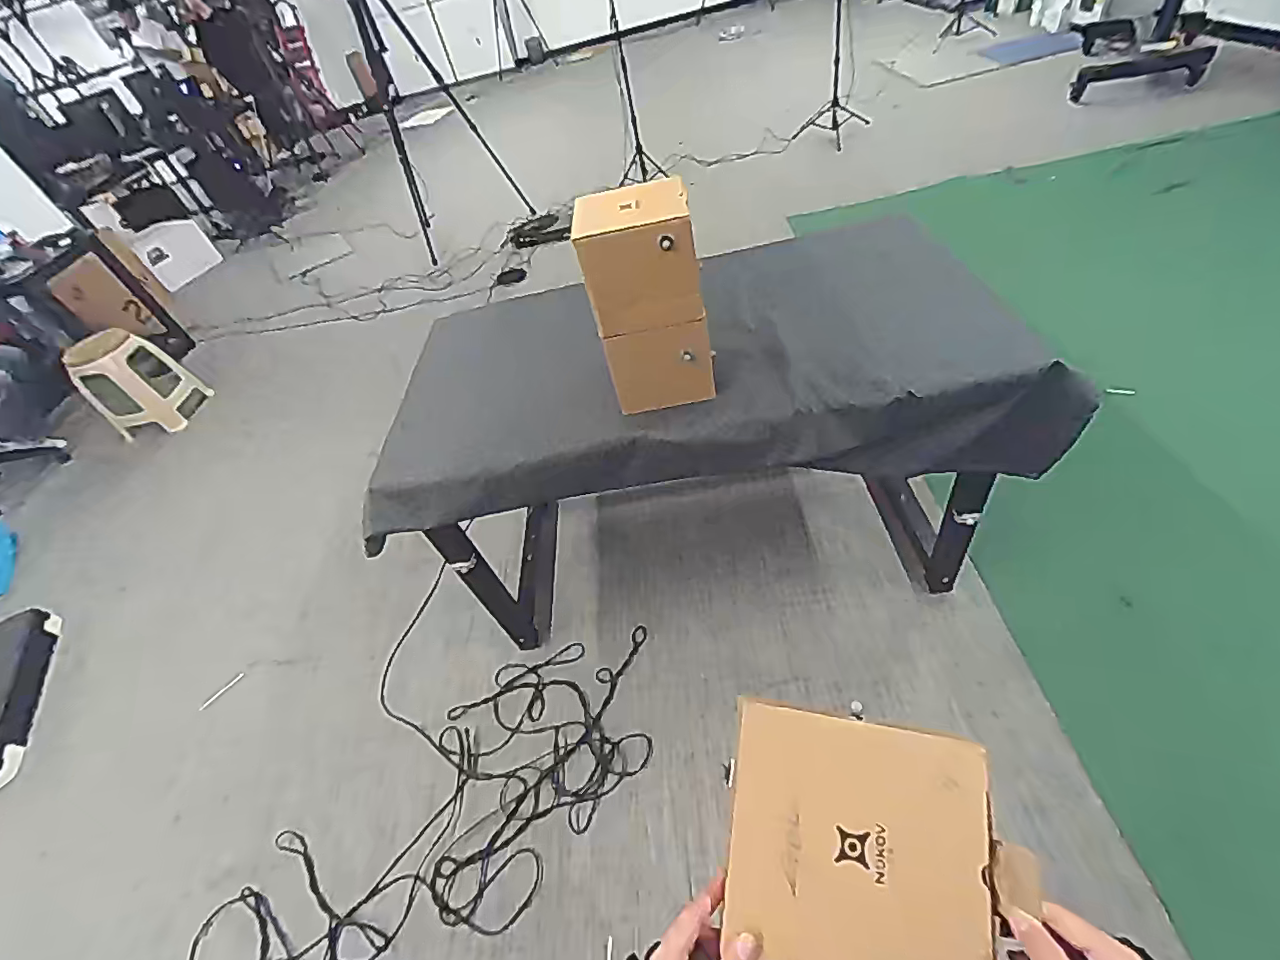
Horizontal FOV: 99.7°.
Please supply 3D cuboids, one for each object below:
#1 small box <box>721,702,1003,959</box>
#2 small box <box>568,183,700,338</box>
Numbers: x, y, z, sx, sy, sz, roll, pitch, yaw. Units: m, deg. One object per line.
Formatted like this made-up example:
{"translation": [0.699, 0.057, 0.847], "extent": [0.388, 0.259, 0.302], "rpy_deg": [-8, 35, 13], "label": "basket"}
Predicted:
{"translation": [0.164, 0.283, 0.447], "extent": [0.179, 0.176, 0.168], "rpy_deg": [5, 69, 11], "label": "small box"}
{"translation": [-0.005, -0.348, 0.873], "extent": [0.179, 0.176, 0.168], "rpy_deg": [-9, 46, 6], "label": "small box"}
